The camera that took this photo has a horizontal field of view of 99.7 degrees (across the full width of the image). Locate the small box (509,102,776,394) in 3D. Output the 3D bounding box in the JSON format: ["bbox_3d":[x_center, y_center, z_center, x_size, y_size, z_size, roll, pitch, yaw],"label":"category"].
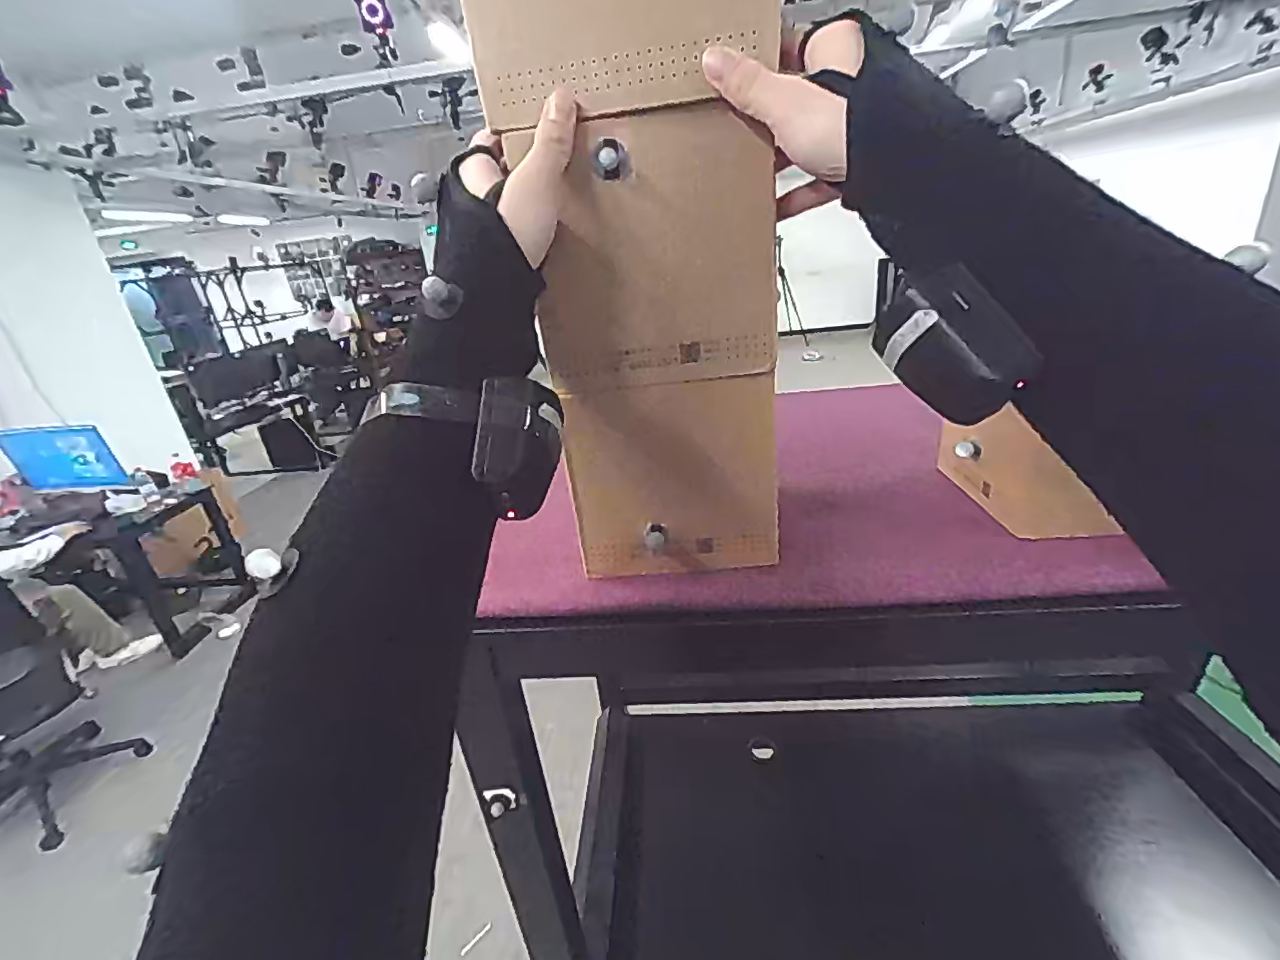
[{"bbox_3d":[0.013,-0.174,0.433,0.168,0.176,0.179,-5,24,7],"label":"small box"}]

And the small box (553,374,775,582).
[{"bbox_3d":[0.028,-0.026,0.501,0.168,0.176,0.179,-5,24,5],"label":"small box"}]
